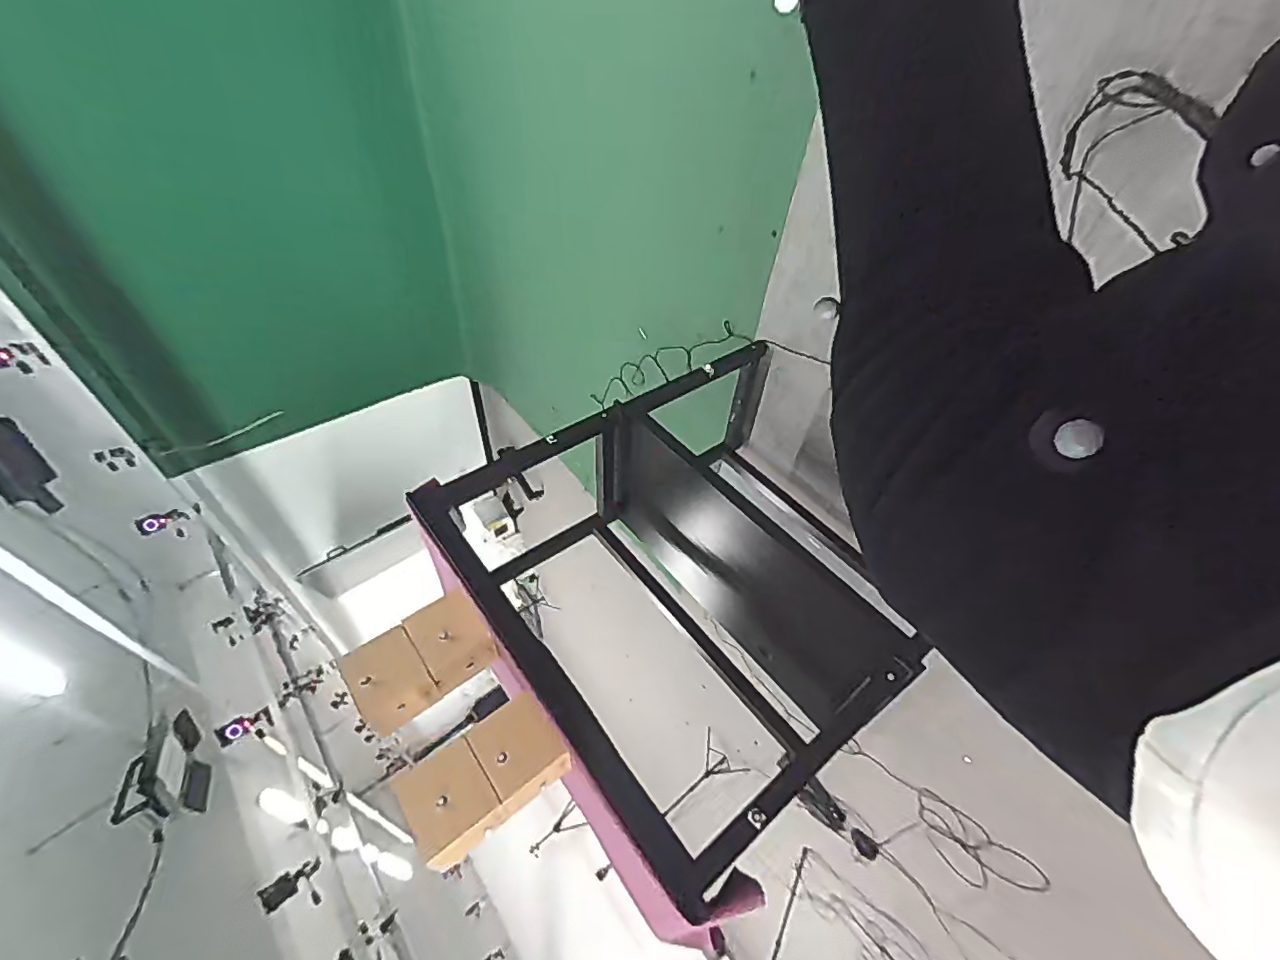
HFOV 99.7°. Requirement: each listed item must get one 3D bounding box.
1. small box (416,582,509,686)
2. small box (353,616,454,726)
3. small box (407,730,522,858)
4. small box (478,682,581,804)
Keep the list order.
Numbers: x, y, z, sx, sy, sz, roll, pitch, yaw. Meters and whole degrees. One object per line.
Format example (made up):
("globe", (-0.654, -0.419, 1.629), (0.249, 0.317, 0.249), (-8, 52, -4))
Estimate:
("small box", (-0.462, 0.407, 1.444), (0.179, 0.176, 0.168), (45, 150, 27))
("small box", (-0.588, 0.483, 1.372), (0.179, 0.176, 0.168), (47, 151, 27))
("small box", (-0.380, 0.683, 1.193), (0.179, 0.176, 0.168), (45, 150, 28))
("small box", (-0.250, 0.612, 1.264), (0.179, 0.176, 0.168), (46, 150, 29))
